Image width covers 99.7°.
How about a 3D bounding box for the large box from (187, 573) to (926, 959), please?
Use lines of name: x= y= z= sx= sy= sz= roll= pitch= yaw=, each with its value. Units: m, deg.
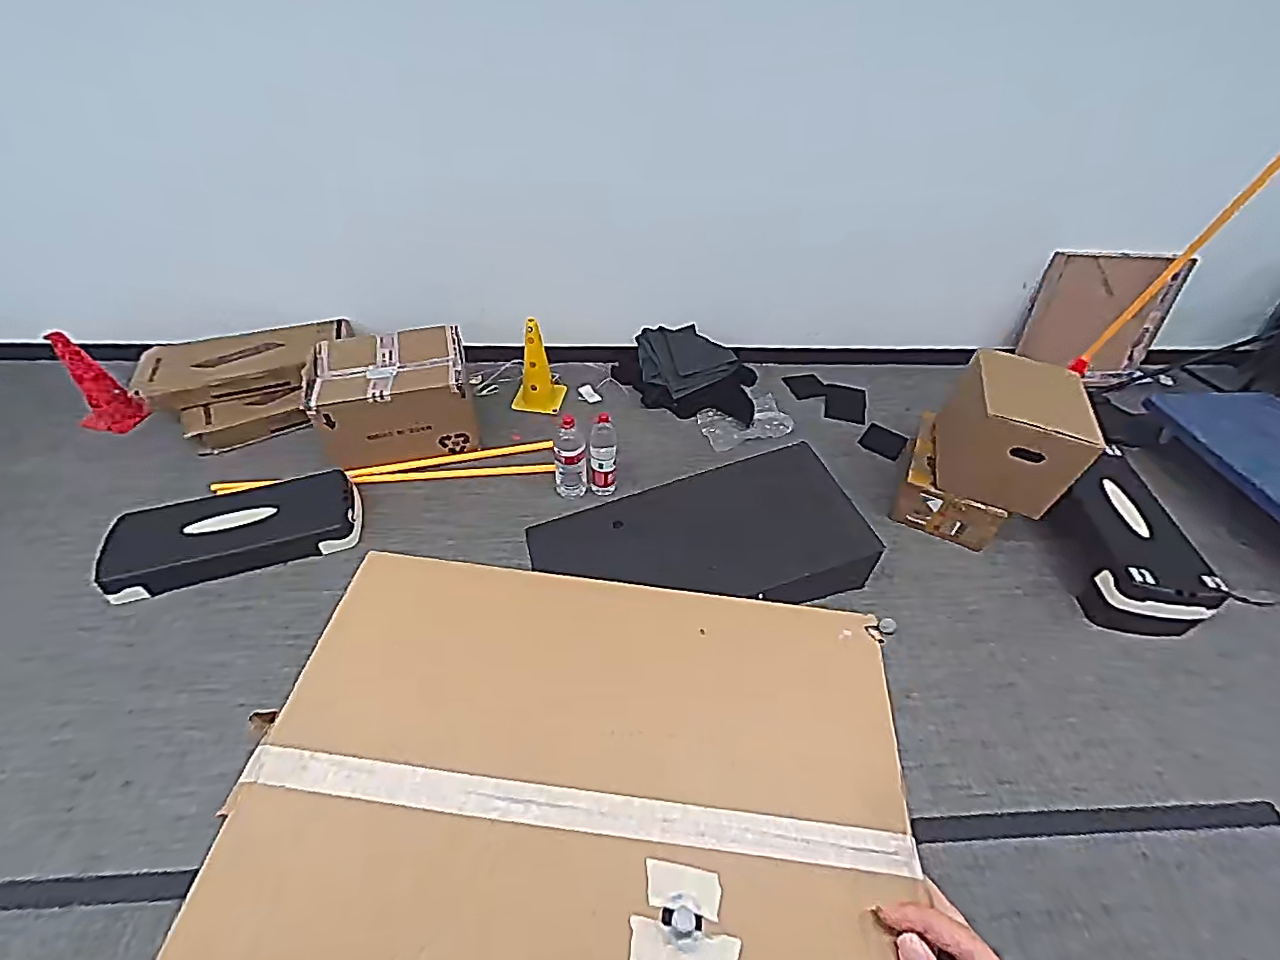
large box: x=-0.042 y=0.306 z=0.447 sx=0.408 sy=0.320 sz=0.320 roll=7 pitch=51 yaw=2
